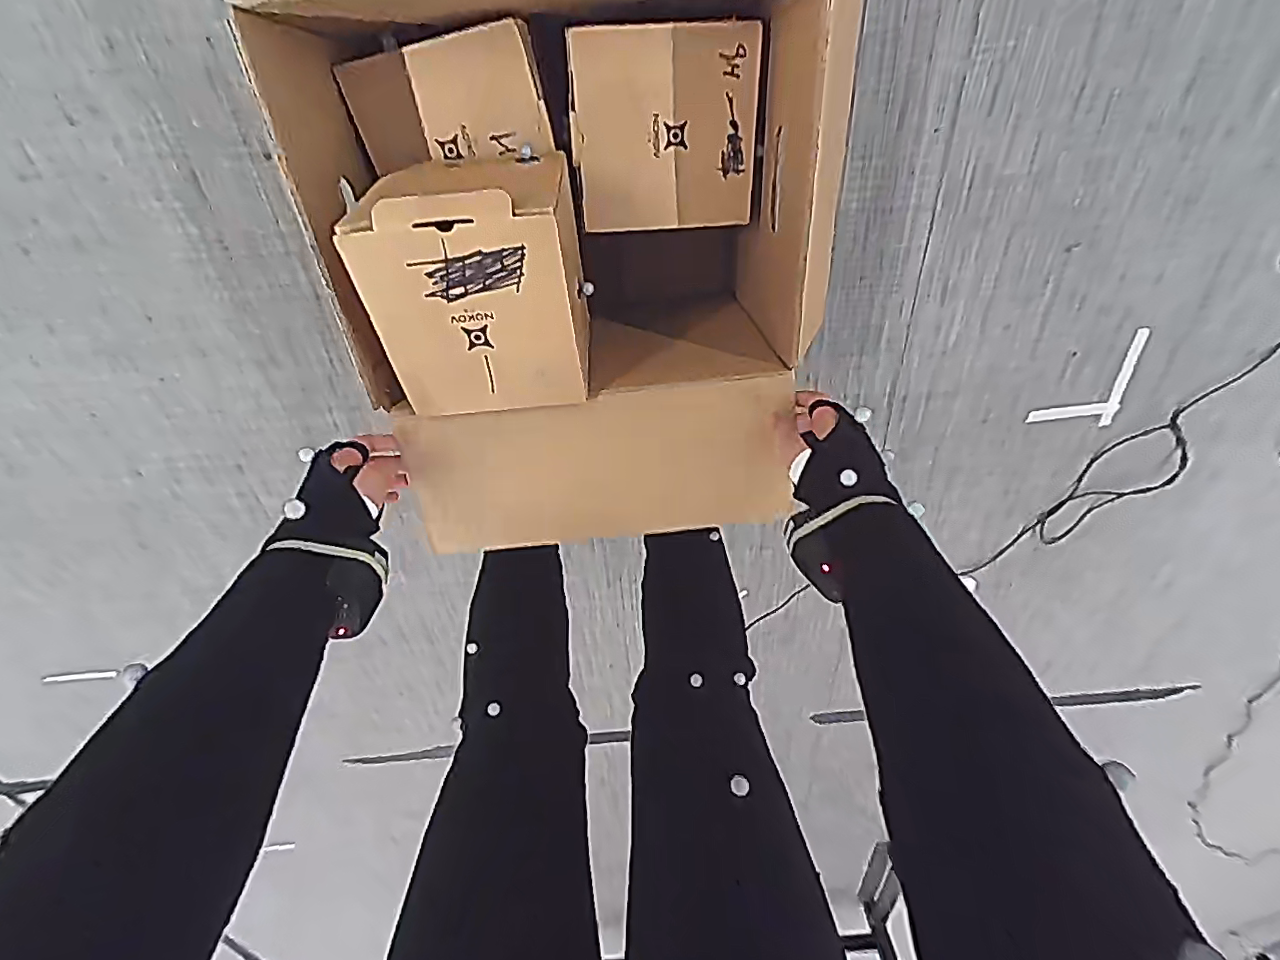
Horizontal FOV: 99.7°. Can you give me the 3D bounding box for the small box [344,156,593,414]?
[{"bbox_3d":[-0.136,-0.186,0.505,0.168,0.176,0.179,-5,135,0],"label":"small box"}]
